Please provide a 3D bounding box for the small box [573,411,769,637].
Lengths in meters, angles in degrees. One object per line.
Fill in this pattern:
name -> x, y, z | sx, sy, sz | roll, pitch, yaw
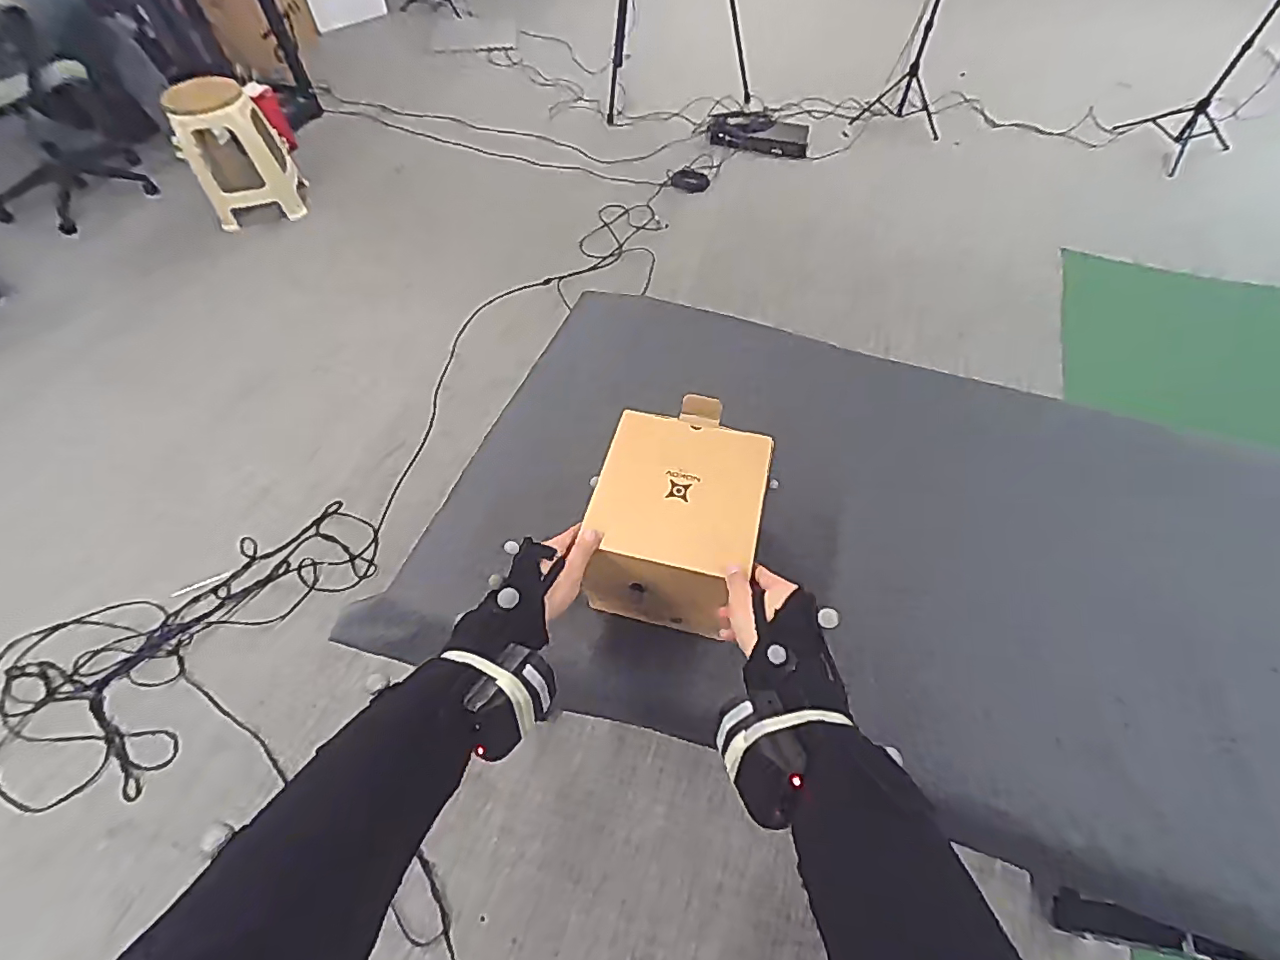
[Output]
small box -> 0.038, 0.055, 0.603 | 0.168, 0.176, 0.179 | 12, 56, 8
